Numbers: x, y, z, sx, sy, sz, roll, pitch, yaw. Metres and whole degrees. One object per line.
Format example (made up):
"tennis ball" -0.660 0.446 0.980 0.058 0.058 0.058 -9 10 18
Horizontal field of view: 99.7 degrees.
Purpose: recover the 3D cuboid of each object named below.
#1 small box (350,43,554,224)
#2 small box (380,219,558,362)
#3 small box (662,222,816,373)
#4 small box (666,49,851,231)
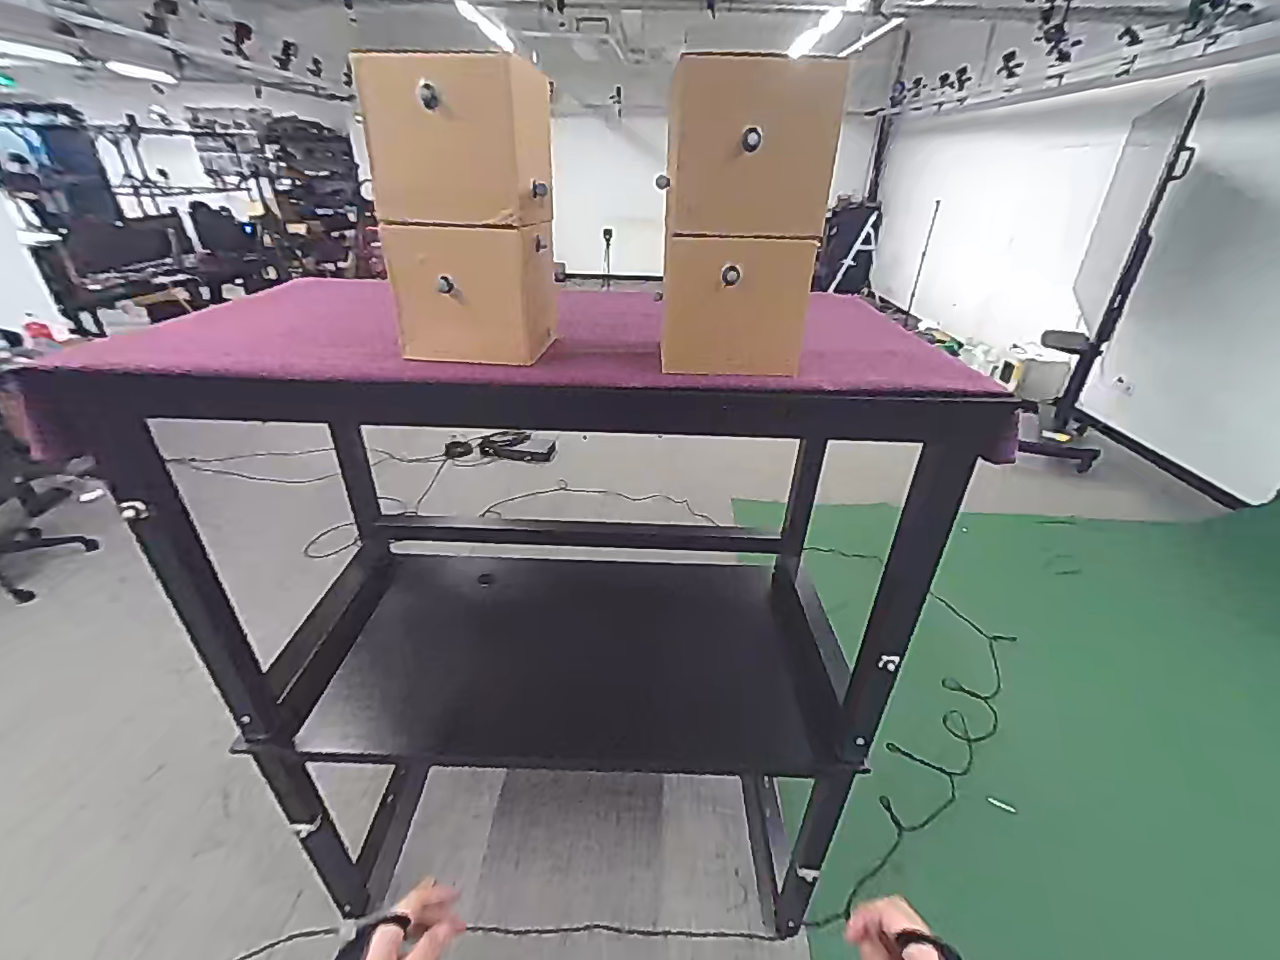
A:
"small box" -0.212 -0.409 0.662 0.179 0.176 0.168 5 29 5
"small box" -0.218 -0.265 0.740 0.179 0.176 0.168 3 29 4
"small box" 0.118 -0.247 0.722 0.179 0.176 0.168 2 30 1
"small box" 0.123 -0.391 0.642 0.179 0.176 0.168 0 30 0
